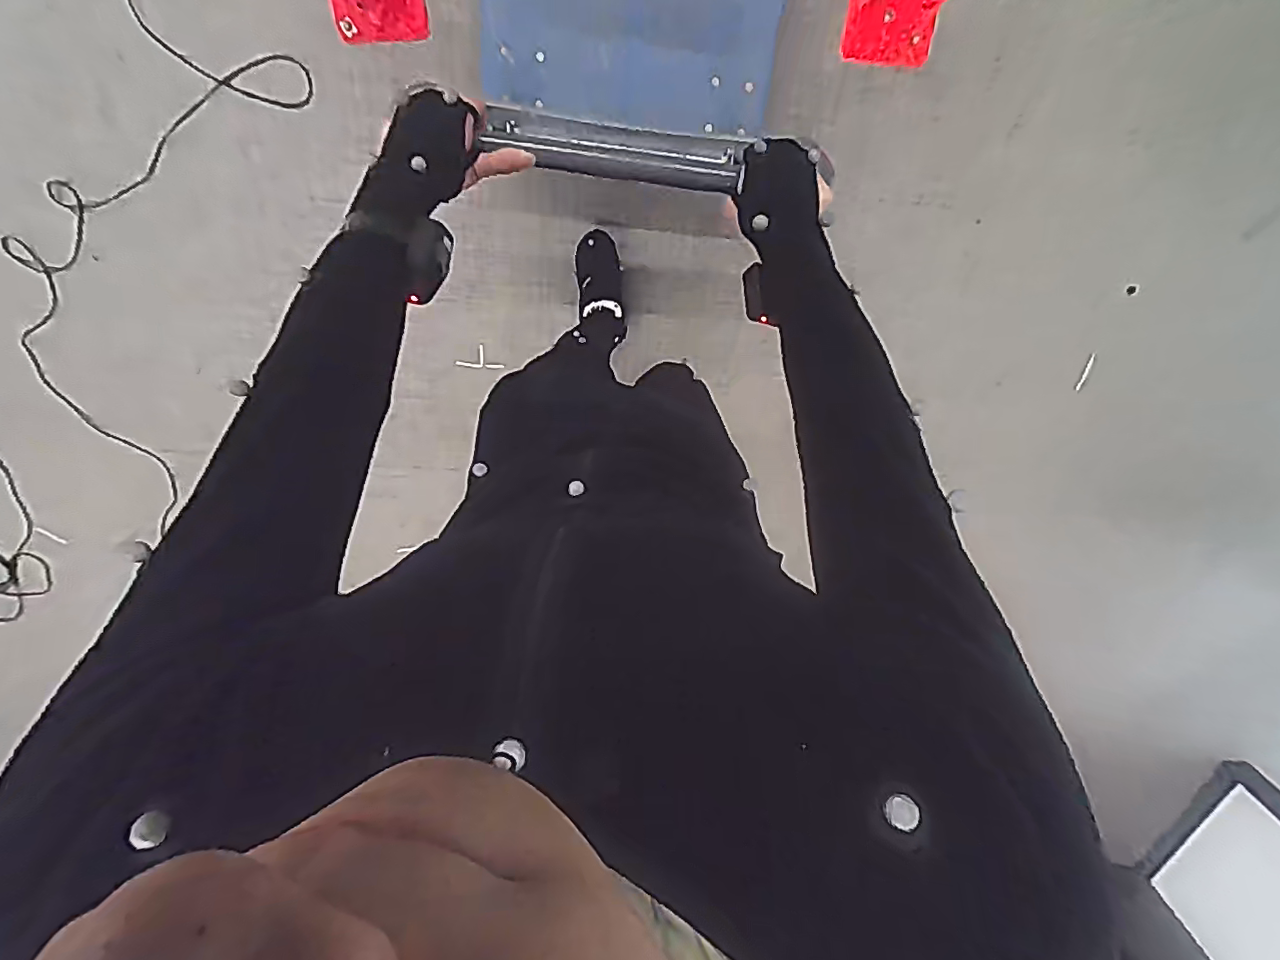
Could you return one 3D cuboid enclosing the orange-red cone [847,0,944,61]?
[{"bbox_3d":[0.558,-0.950,0.999,0.198,0.360,0.199,4,116,-4],"label":"orange-red cone"}]
